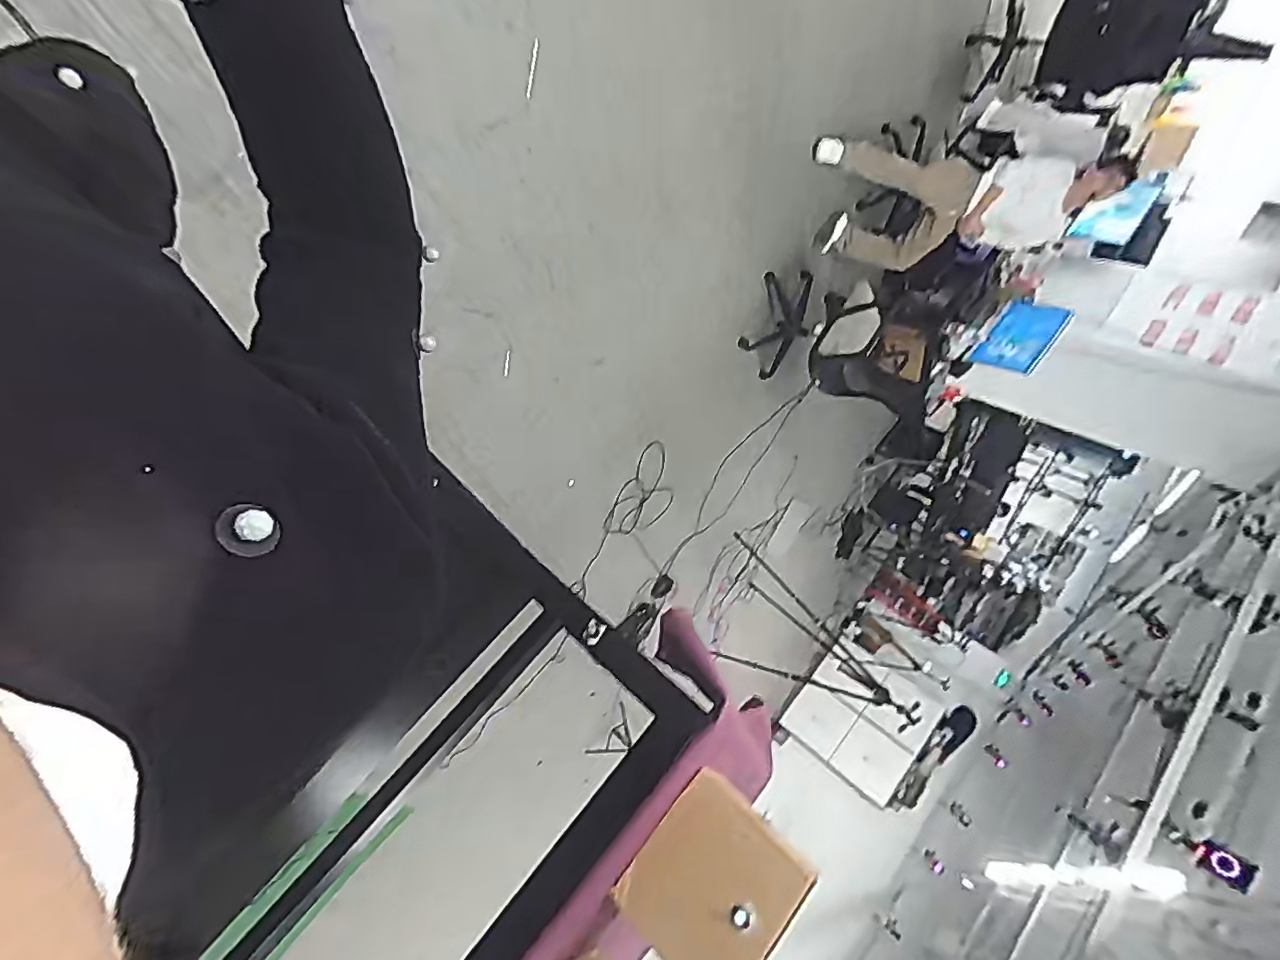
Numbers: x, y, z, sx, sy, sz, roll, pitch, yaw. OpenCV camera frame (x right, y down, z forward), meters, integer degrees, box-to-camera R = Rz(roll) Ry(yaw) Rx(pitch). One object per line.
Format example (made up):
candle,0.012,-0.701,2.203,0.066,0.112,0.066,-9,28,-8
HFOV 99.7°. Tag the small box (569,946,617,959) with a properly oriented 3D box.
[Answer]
small box,-0.063,0.664,0.589,0.168,0.176,0.179,-47,145,-15
